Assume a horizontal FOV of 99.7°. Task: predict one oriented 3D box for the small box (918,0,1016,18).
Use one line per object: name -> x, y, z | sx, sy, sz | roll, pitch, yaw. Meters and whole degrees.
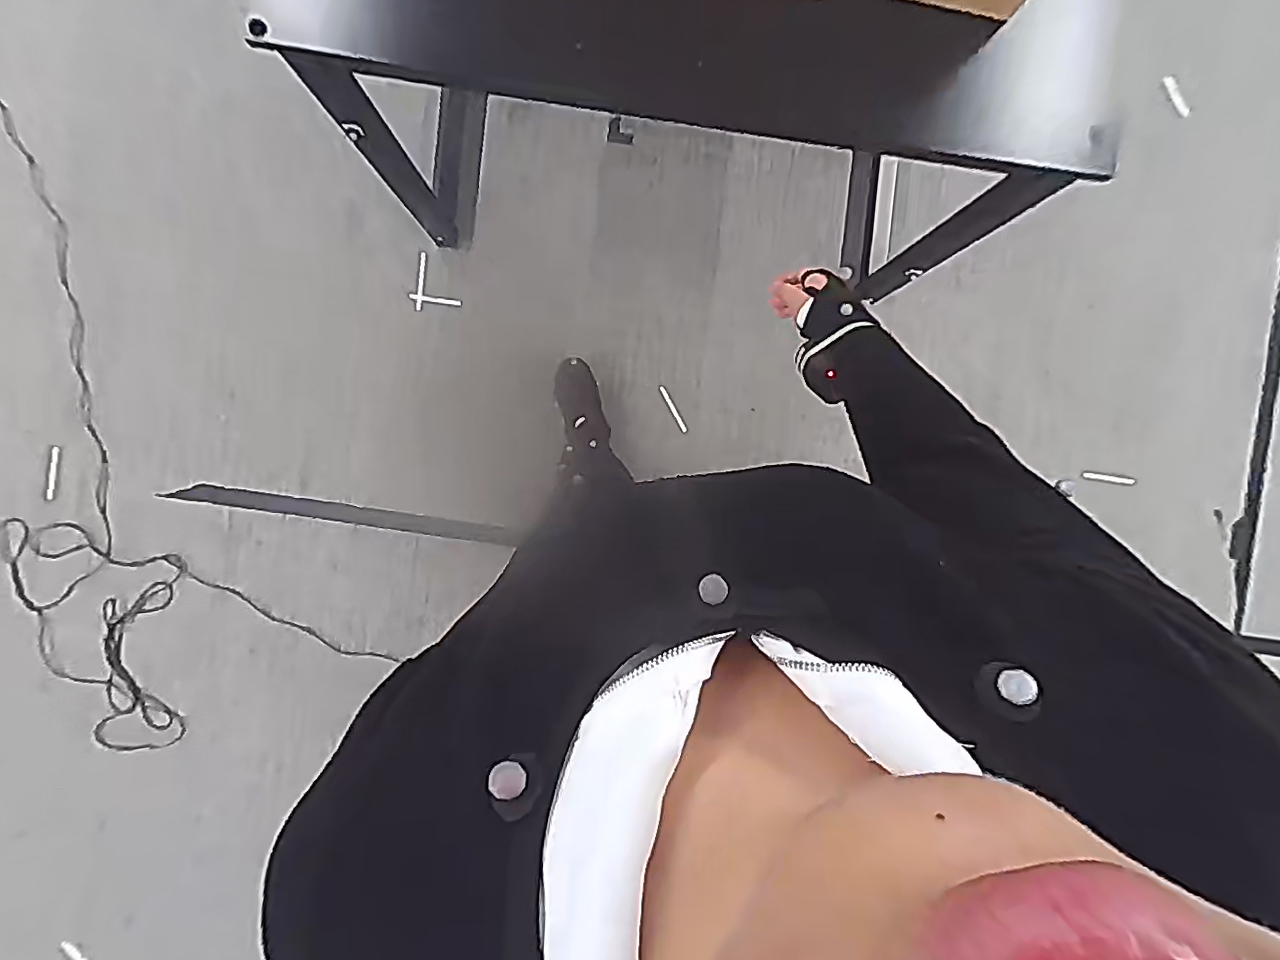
small box -> 0.451, -0.738, 0.679 | 0.179, 0.176, 0.168 | 10, 92, -4
